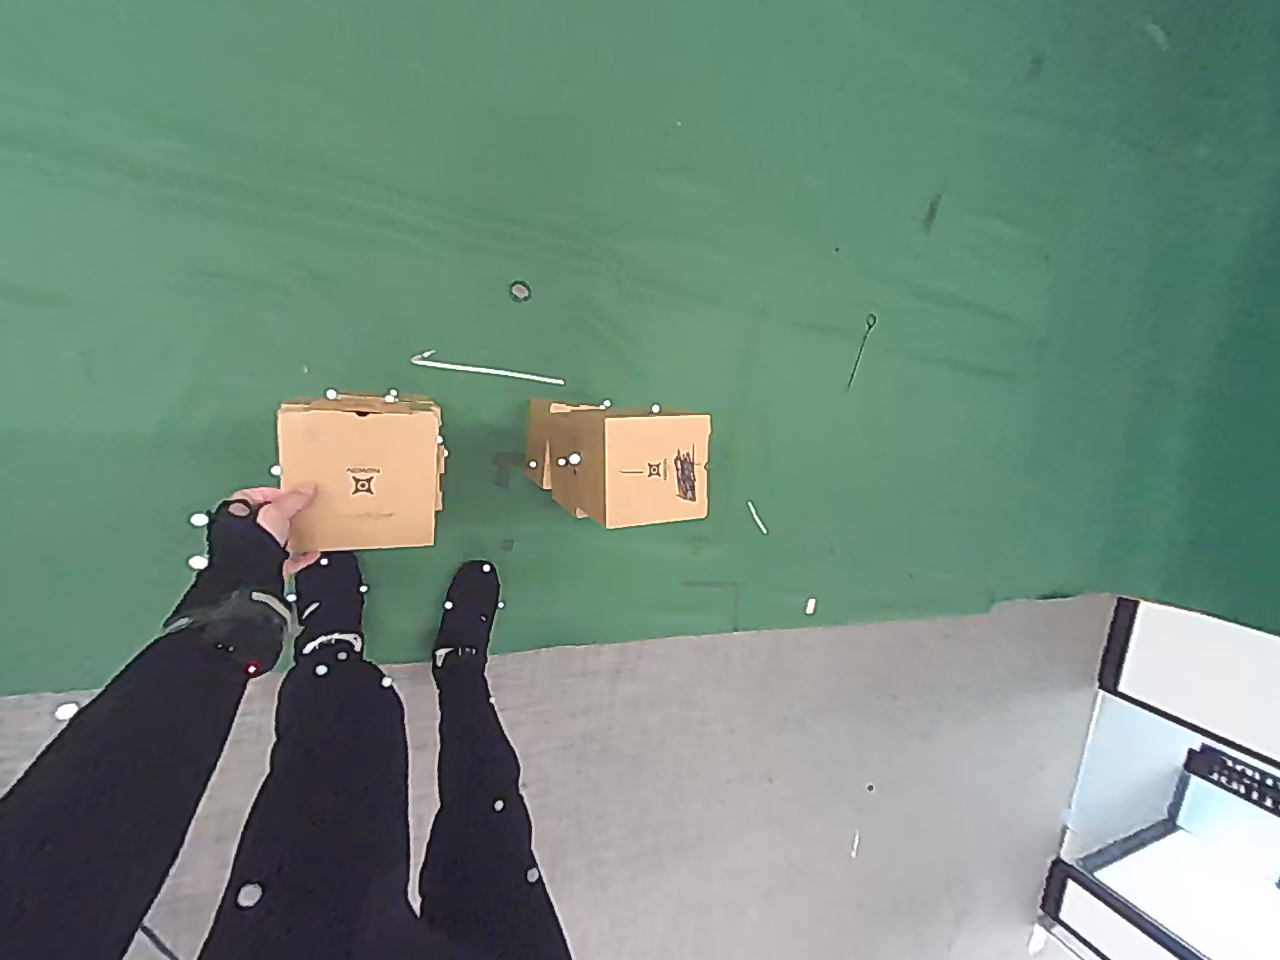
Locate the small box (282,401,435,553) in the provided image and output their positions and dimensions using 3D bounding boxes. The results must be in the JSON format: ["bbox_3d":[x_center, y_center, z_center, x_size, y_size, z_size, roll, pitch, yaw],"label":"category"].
[{"bbox_3d":[-0.370,-0.012,0.722,0.168,0.176,0.179,0,100,-25],"label":"small box"}]

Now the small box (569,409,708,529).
[{"bbox_3d":[-0.007,-0.027,0.880,0.179,0.176,0.168,-5,102,-23],"label":"small box"}]

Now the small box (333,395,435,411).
[{"bbox_3d":[-0.483,-0.066,1.028,0.168,0.176,0.179,1,99,-24],"label":"small box"}]

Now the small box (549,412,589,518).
[{"bbox_3d":[-0.072,-0.040,1.032,0.168,0.176,0.179,-7,104,-22],"label":"small box"}]

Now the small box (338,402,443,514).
[{"bbox_3d":[-0.421,-0.040,0.879,0.179,0.176,0.168,-2,100,-24],"label":"small box"}]
